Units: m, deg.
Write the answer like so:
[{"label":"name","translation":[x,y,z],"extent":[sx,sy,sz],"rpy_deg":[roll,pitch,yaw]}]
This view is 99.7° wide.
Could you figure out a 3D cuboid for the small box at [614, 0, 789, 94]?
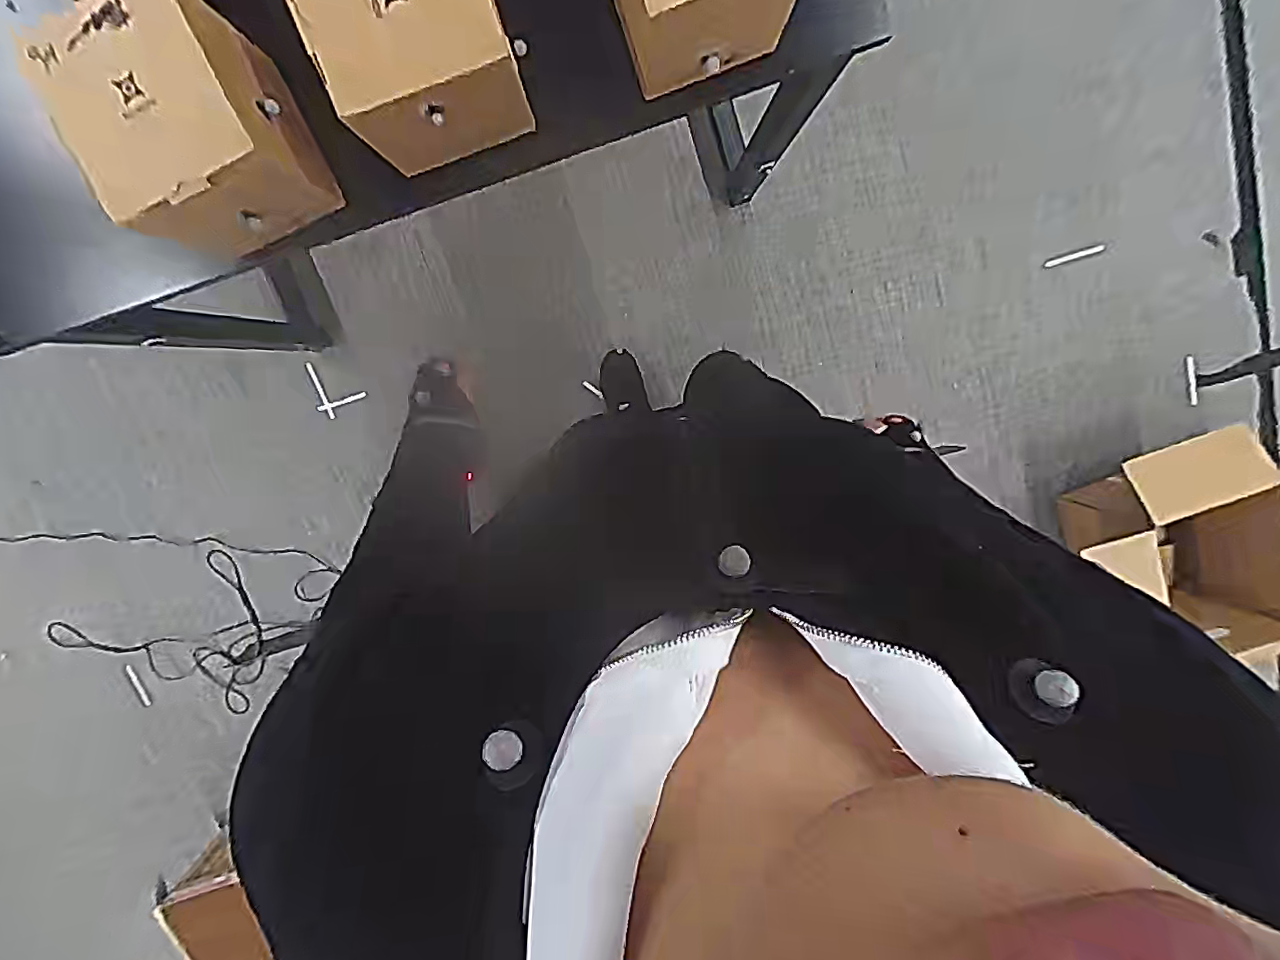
[{"label":"small box","translation":[0.052,-0.551,0.555],"extent":[0.168,0.176,0.179],"rpy_deg":[-19,102,4]}]

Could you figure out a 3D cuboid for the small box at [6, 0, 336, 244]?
[{"label":"small box","translation":[-0.475,-0.376,0.585],"extent":[0.168,0.176,0.179],"rpy_deg":[-24,102,4]}]

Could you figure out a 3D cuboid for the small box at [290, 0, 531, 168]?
[{"label":"small box","translation":[-0.234,-0.465,0.572],"extent":[0.179,0.176,0.168],"rpy_deg":[-19,102,2]}]
